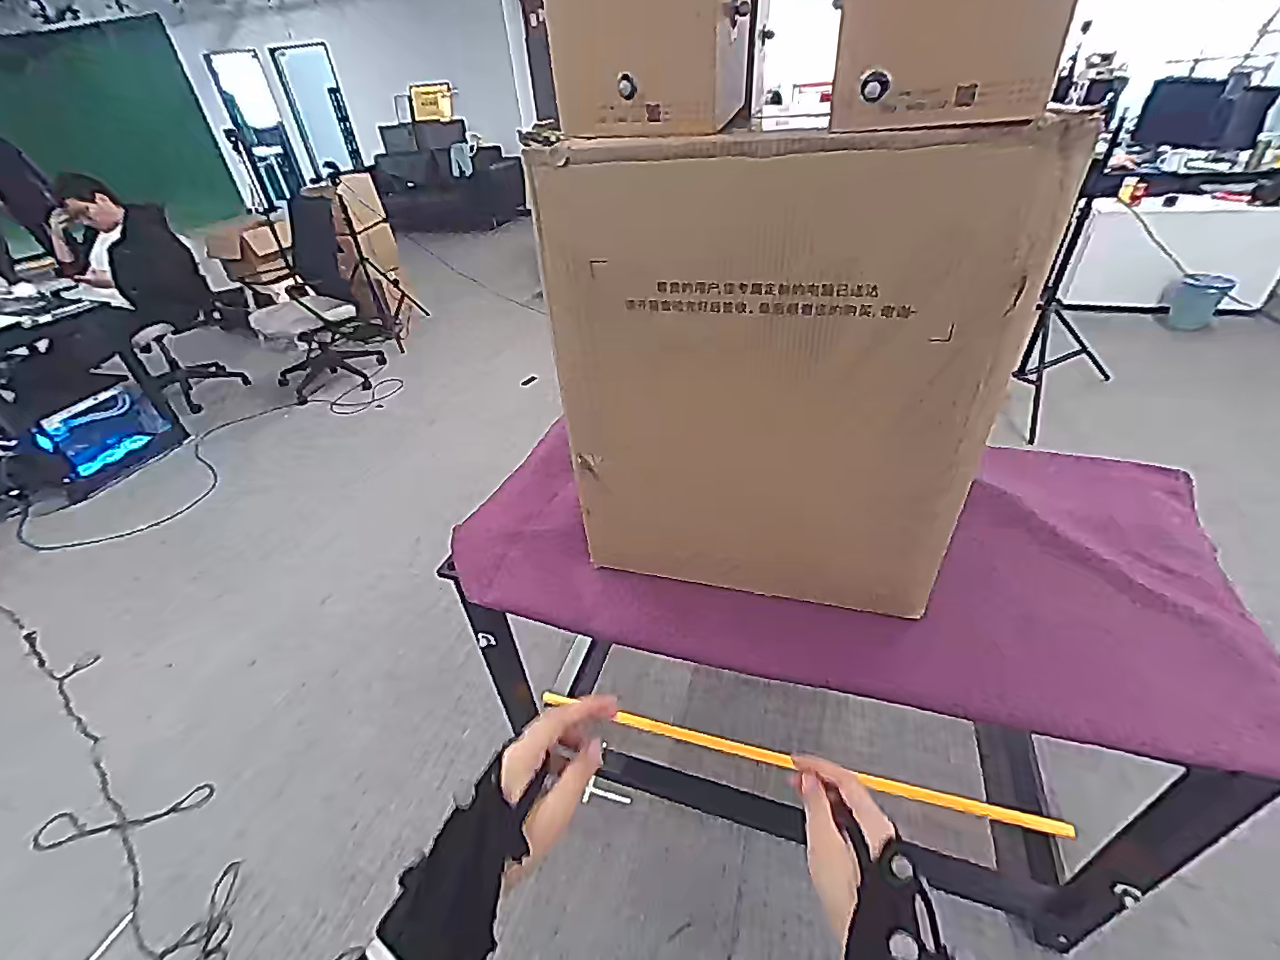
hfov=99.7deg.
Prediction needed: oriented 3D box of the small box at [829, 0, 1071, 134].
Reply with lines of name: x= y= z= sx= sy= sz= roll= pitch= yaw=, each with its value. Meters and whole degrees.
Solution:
small box: x=0.262 y=-0.410 z=0.471 sx=0.168 sy=0.176 sz=0.179 roll=7 pitch=40 yaw=17
